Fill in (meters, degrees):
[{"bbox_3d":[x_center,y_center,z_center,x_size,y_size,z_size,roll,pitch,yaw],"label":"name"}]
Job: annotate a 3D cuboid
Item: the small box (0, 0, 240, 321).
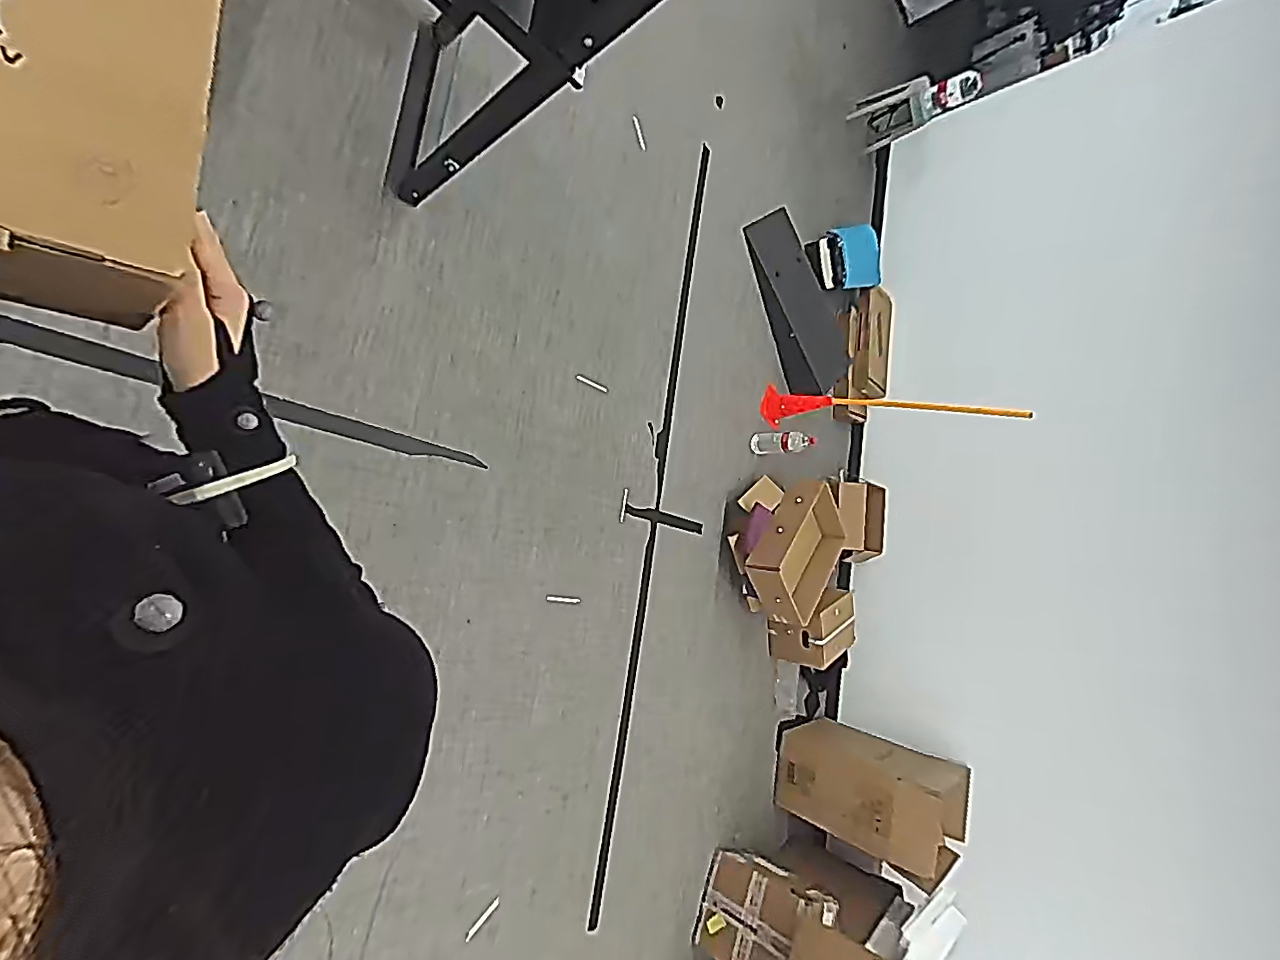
[{"bbox_3d":[-0.335,-0.194,0.278,0.168,0.176,0.179,7,88,-50],"label":"small box"}]
